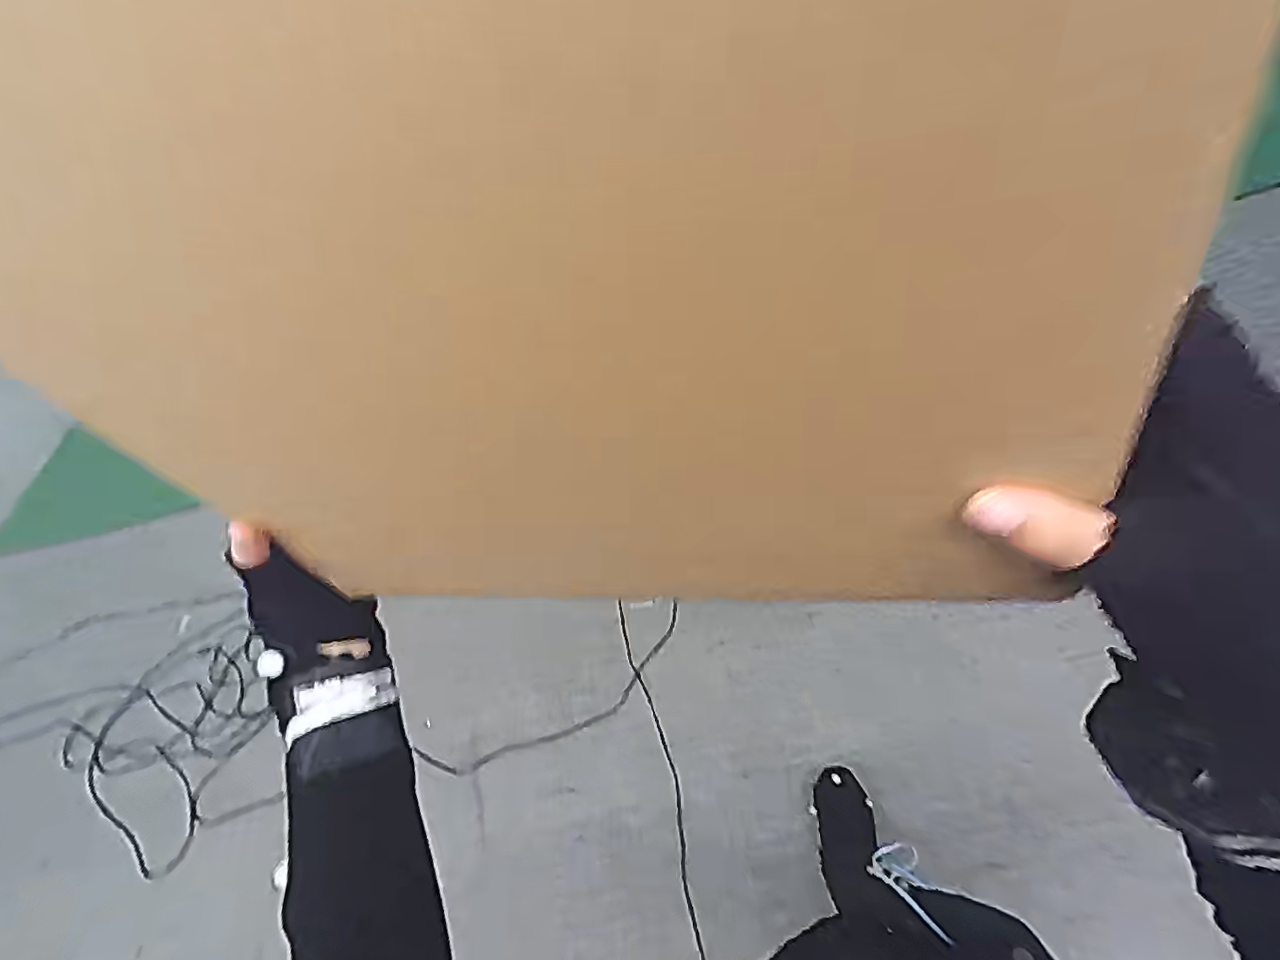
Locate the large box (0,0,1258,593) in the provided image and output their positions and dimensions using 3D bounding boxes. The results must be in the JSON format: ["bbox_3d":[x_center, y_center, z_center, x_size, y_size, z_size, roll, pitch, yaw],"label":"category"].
[{"bbox_3d":[-0.036,-0.151,0.282,0.408,0.320,0.320,-6,49,23],"label":"large box"}]
